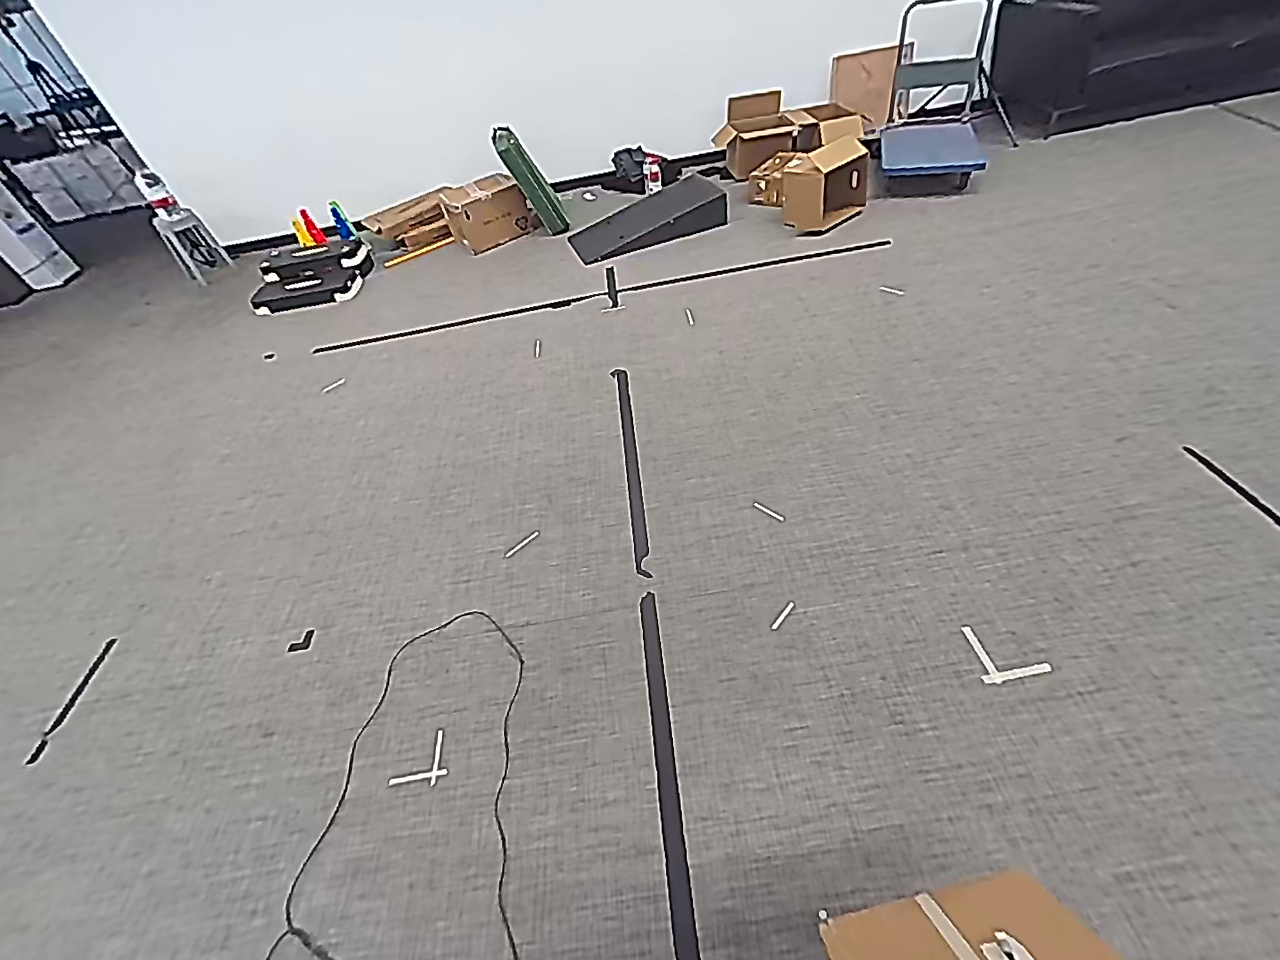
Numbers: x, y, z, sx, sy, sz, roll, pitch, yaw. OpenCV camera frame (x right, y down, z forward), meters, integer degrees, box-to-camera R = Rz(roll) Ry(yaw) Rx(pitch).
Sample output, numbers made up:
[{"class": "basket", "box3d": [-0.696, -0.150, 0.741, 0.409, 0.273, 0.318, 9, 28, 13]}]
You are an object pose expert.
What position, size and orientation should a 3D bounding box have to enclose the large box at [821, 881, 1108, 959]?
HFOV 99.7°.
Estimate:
[{"class": "large box", "box3d": [0.445, 0.743, 0.577, 0.320, 0.408, 0.320, -14, 82, 0]}]
